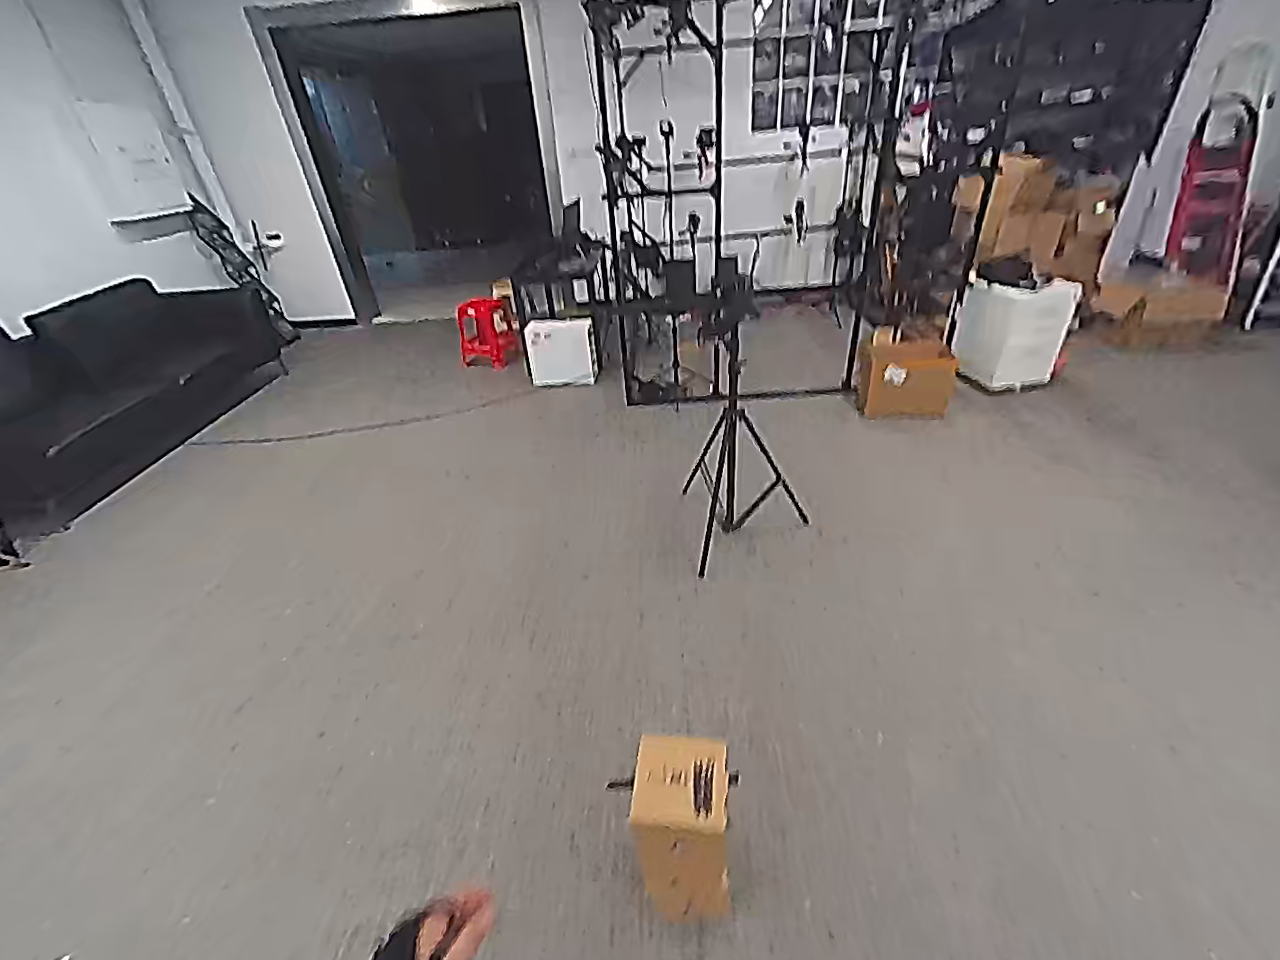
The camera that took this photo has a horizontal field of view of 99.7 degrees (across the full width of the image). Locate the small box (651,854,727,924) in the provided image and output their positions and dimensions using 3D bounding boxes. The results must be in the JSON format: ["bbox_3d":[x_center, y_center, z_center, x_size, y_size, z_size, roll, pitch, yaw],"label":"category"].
[{"bbox_3d":[0.109,0.897,1.252,0.168,0.176,0.179,-4,32,1],"label":"small box"}]

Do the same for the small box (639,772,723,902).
[{"bbox_3d":[0.092,0.764,1.161,0.168,0.176,0.179,0,34,7],"label":"small box"}]
